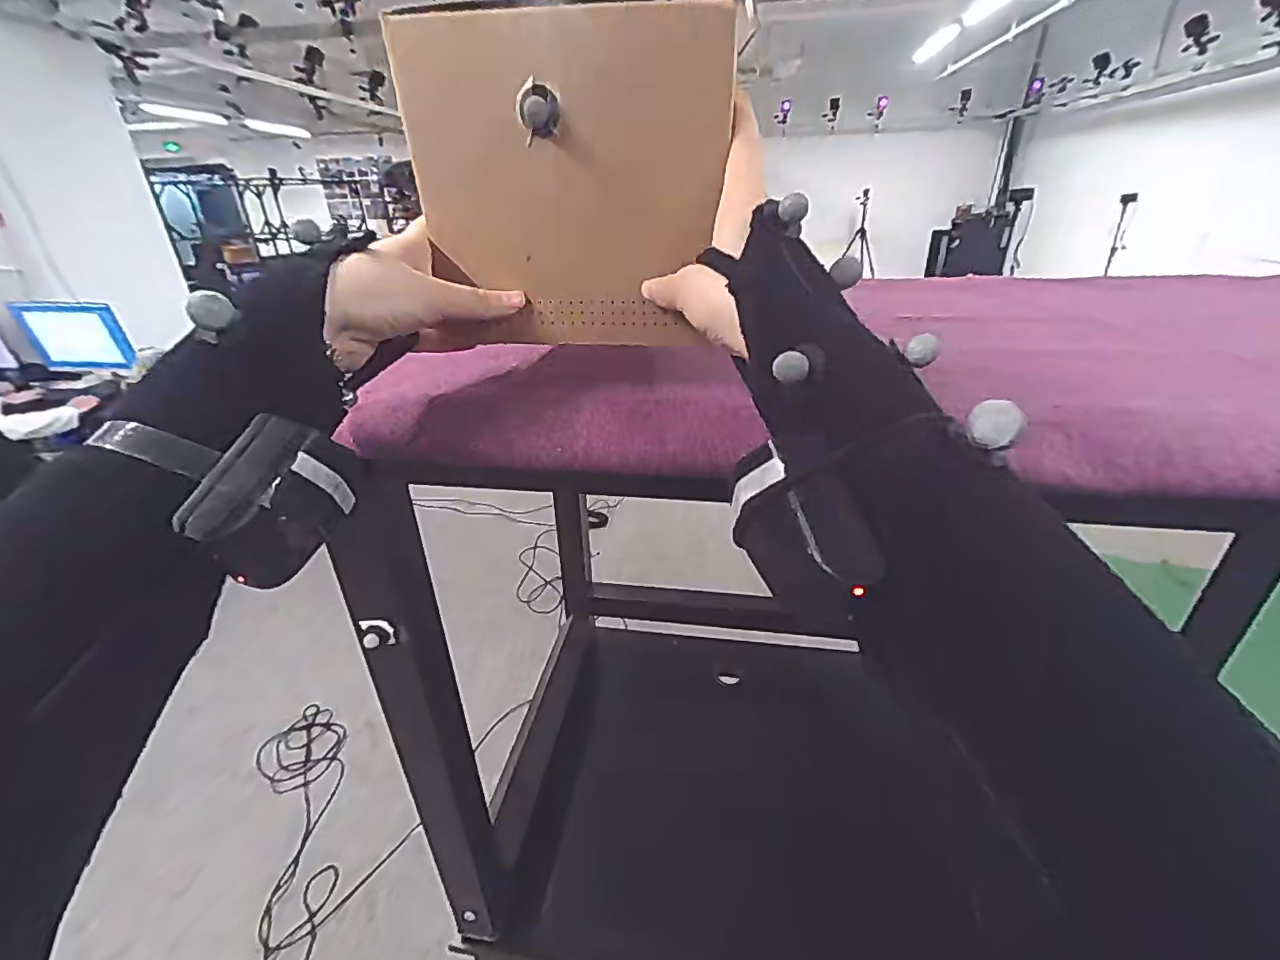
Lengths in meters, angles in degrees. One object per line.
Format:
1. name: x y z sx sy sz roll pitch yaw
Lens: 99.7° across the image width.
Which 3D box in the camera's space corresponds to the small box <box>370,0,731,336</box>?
1. small box: -0.033 -0.201 0.357 0.179 0.176 0.168 3 34 6
